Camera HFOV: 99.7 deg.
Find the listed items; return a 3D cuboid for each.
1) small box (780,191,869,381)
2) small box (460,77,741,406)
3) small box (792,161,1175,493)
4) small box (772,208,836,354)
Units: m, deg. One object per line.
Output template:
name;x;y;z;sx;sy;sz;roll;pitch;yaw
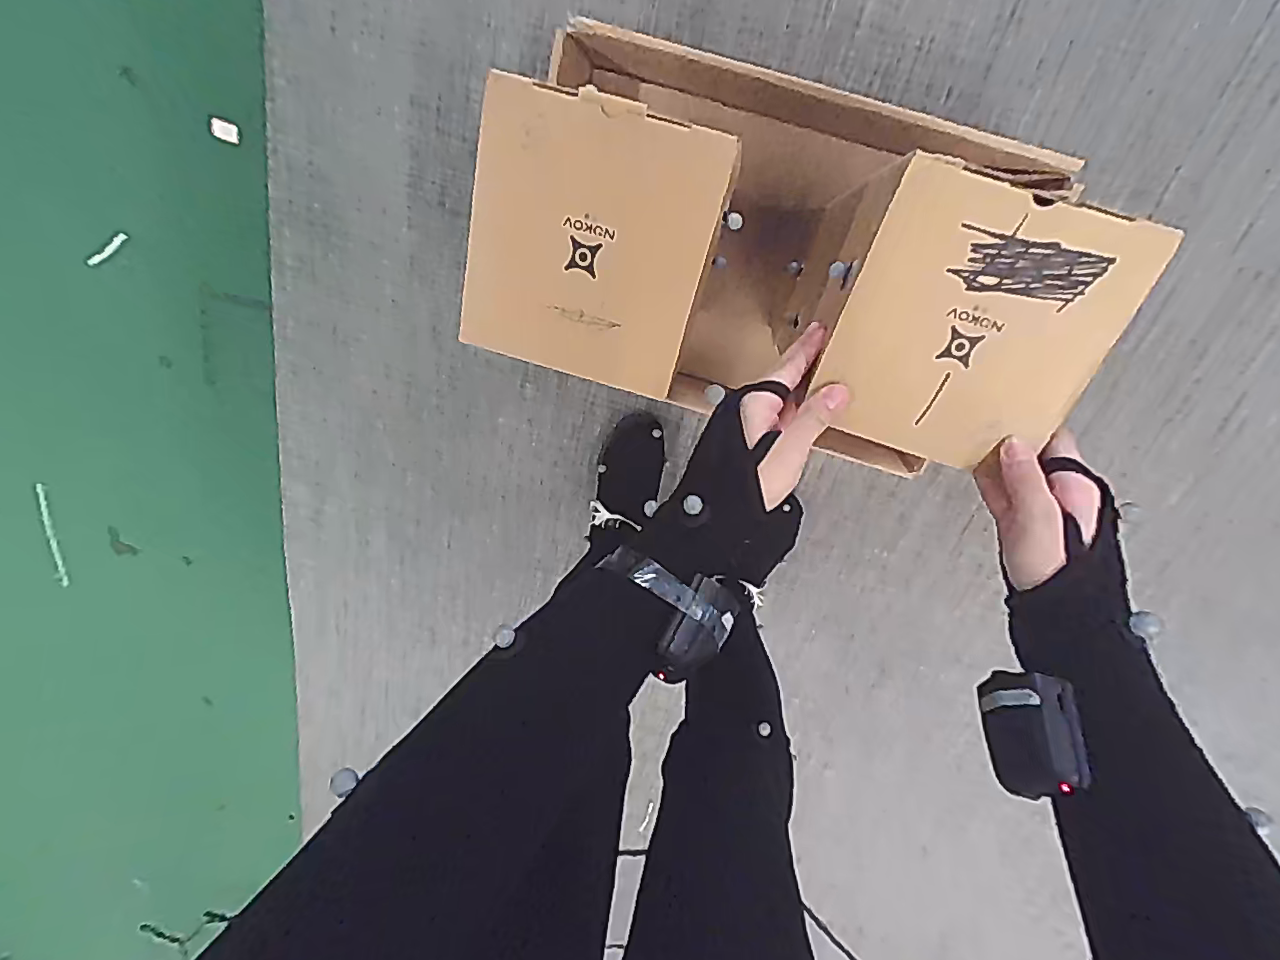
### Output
small box;0.258;-0.183;0.576;0.168;0.176;0.179;20;115;3
small box;-0.025;-0.186;0.443;0.168;0.176;0.179;17;116;2
small box;0.229;-0.122;0.427;0.168;0.176;0.179;20;116;4
small box;0.287;-0.243;0.726;0.168;0.176;0.179;20;115;4
